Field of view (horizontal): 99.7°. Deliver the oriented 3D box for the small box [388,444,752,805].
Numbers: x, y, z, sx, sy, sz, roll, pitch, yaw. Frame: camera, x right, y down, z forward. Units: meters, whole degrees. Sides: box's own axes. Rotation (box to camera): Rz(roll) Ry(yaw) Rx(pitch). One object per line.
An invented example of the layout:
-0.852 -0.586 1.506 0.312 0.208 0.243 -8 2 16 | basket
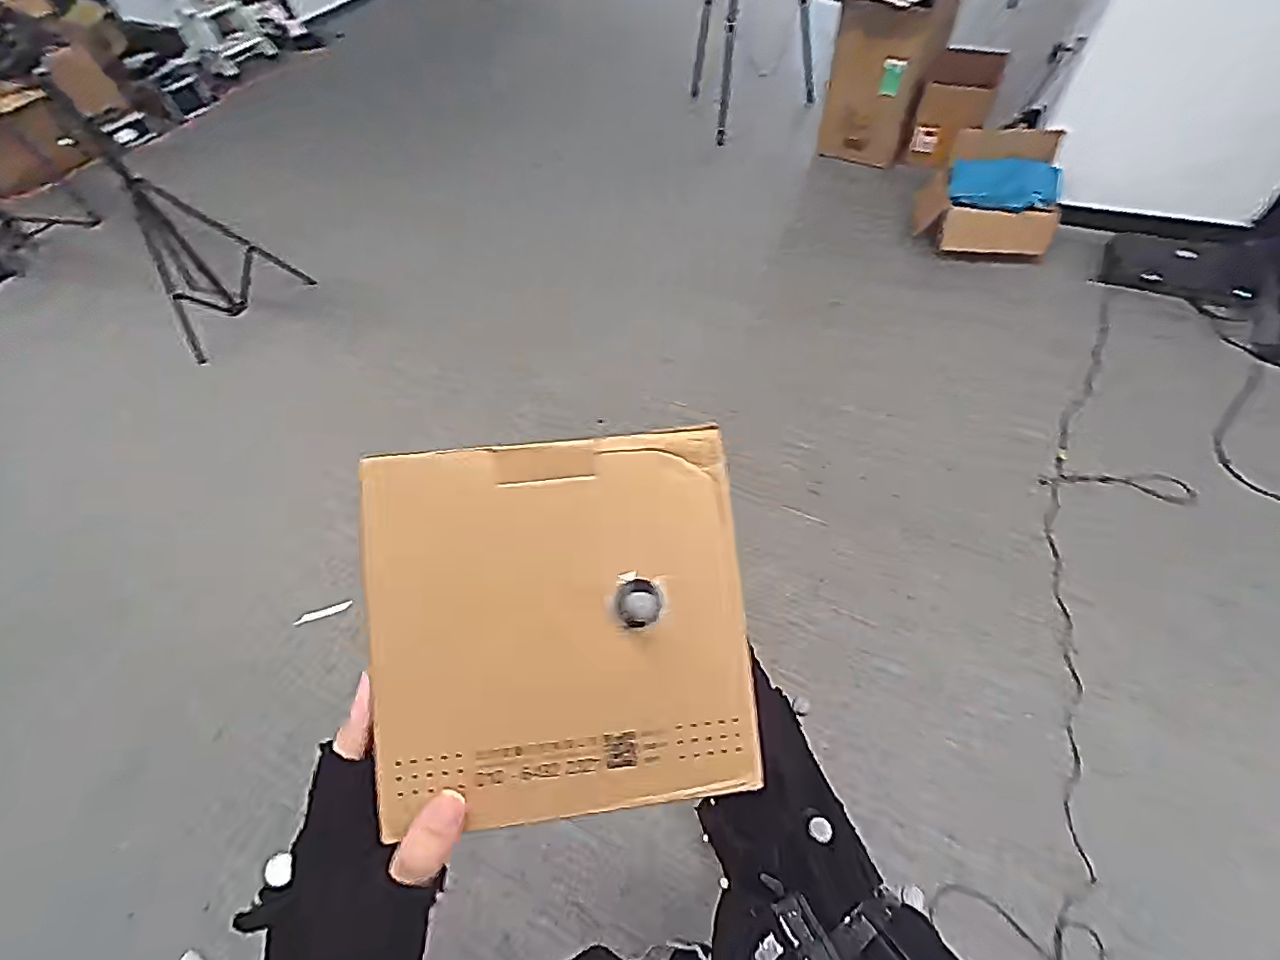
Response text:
-0.037 0.080 0.340 0.168 0.179 0.176 -5 85 -6 | small box
